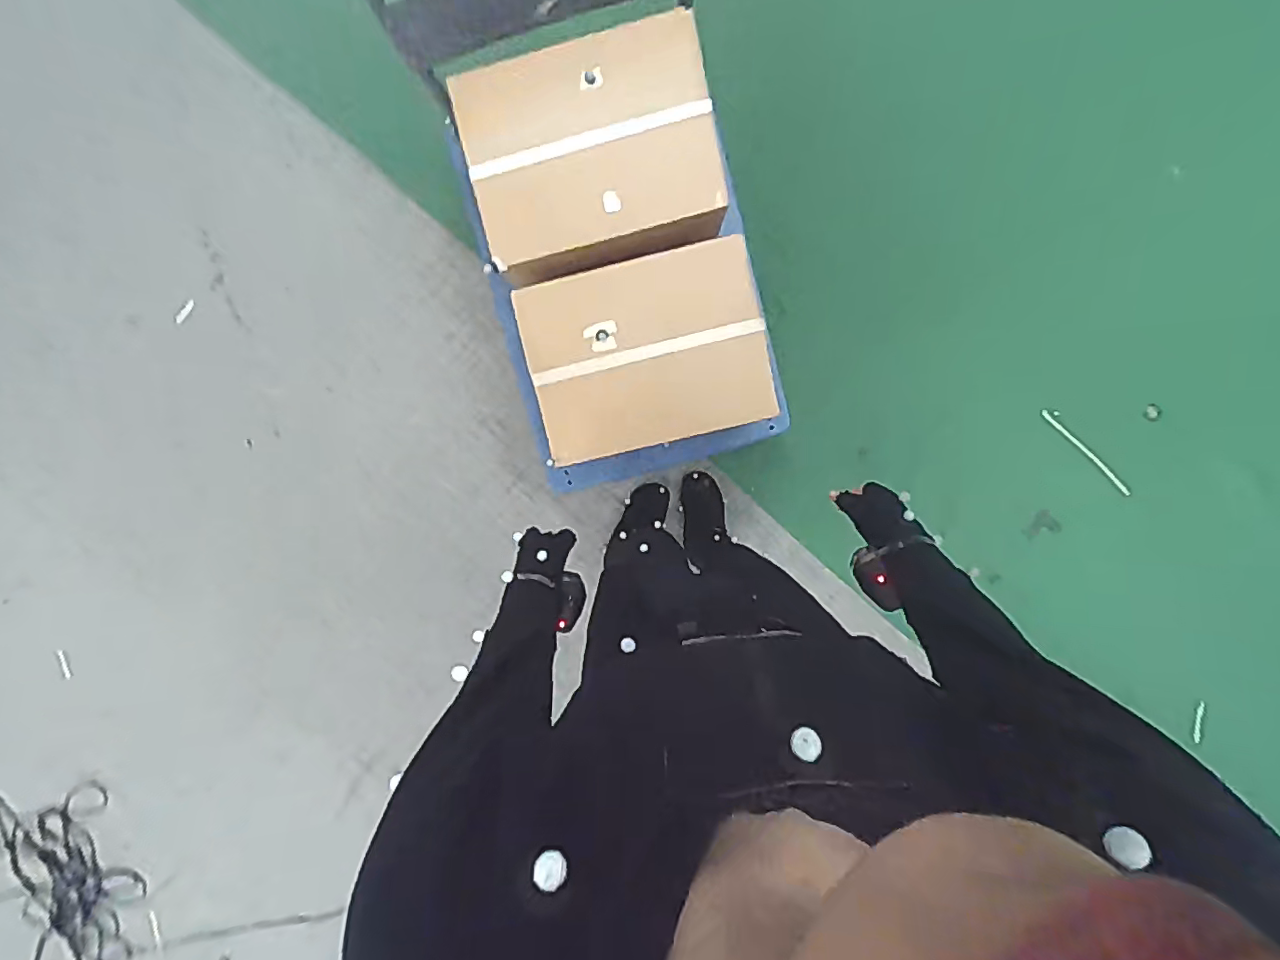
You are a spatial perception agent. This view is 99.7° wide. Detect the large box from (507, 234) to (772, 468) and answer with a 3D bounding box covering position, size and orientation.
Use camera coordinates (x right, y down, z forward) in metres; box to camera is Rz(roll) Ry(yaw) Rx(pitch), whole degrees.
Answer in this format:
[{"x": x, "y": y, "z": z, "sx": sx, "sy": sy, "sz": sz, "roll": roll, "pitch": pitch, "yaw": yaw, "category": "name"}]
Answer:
[{"x": 0.008, "y": -0.233, "z": 1.065, "sx": 0.408, "sy": 0.320, "sz": 0.320, "roll": -13, "pitch": 96, "yaw": 5, "category": "large box"}]
